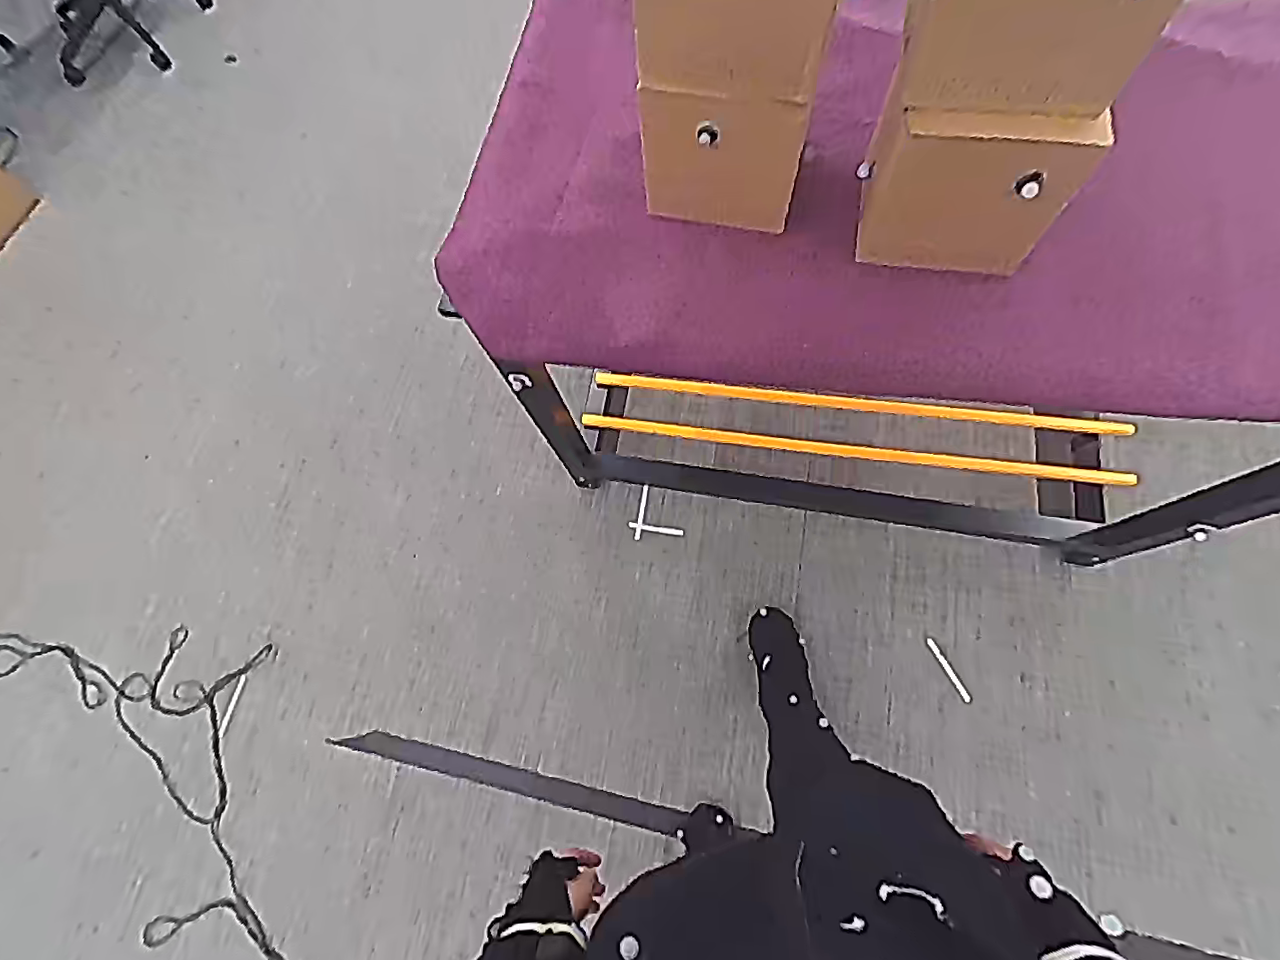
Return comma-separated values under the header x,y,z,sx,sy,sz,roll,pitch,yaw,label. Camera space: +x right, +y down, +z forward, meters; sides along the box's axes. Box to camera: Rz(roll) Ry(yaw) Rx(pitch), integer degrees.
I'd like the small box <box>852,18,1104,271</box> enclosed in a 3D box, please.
x,y,z,sx,sy,sz,roll,pitch,yaw,label
0.348,-0.352,0.588,0.179,0.176,0.168,9,71,9,small box

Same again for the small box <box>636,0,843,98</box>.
x,y,z,sx,sy,sz,roll,pitch,yaw,label
0.101,-0.486,0.487,0.179,0.176,0.168,16,73,12,small box

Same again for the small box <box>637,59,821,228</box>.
x,y,z,sx,sy,sz,roll,pitch,yaw,label
0.106,-0.429,0.640,0.179,0.176,0.168,13,72,9,small box
